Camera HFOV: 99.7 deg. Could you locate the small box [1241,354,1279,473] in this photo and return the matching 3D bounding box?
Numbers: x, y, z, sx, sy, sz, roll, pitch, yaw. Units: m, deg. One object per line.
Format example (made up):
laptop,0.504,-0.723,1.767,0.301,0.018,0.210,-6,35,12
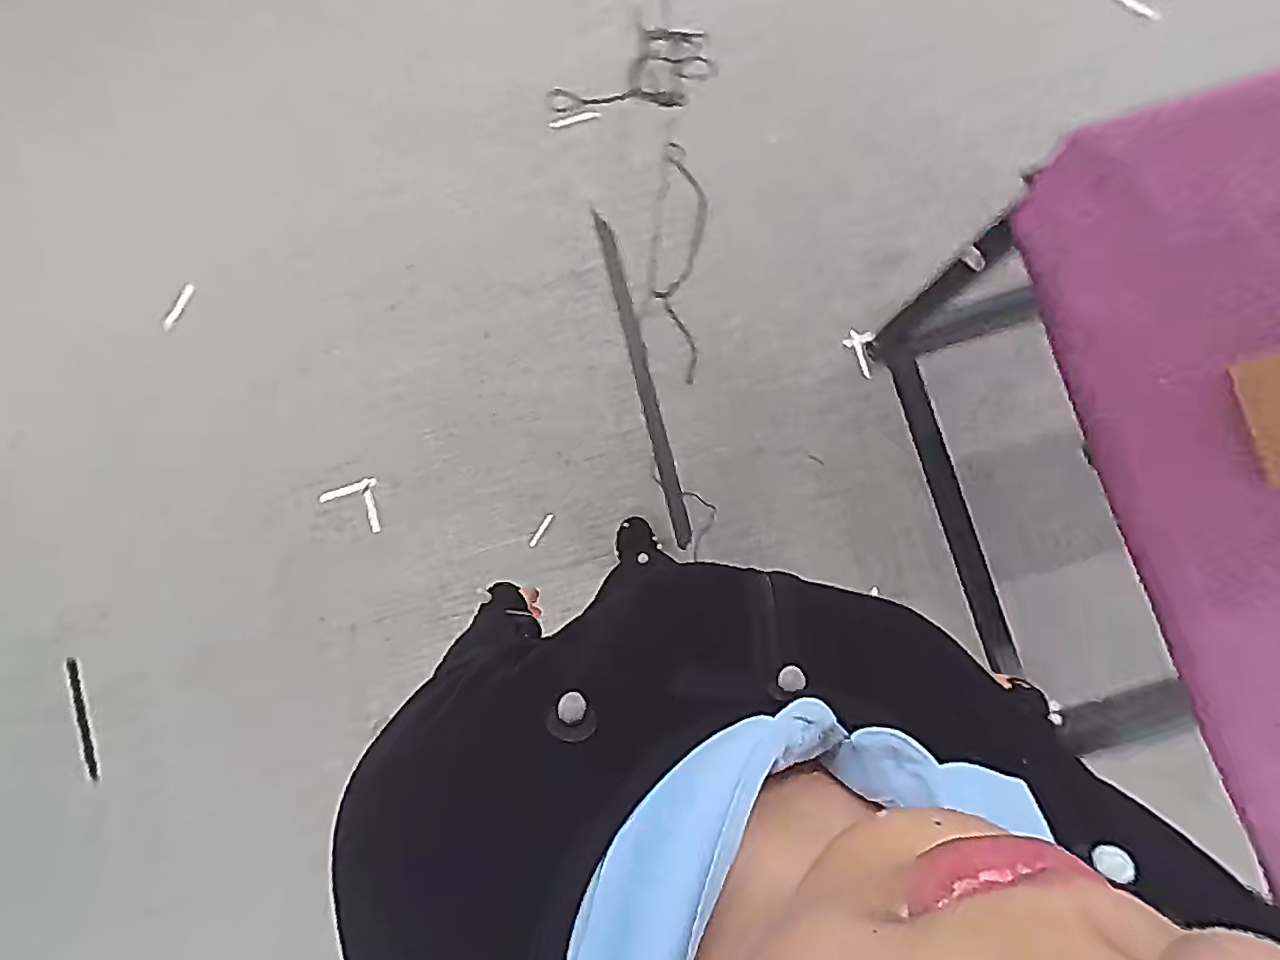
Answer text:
small box,0.909,-0.095,0.650,0.168,0.176,0.179,-14,85,2
